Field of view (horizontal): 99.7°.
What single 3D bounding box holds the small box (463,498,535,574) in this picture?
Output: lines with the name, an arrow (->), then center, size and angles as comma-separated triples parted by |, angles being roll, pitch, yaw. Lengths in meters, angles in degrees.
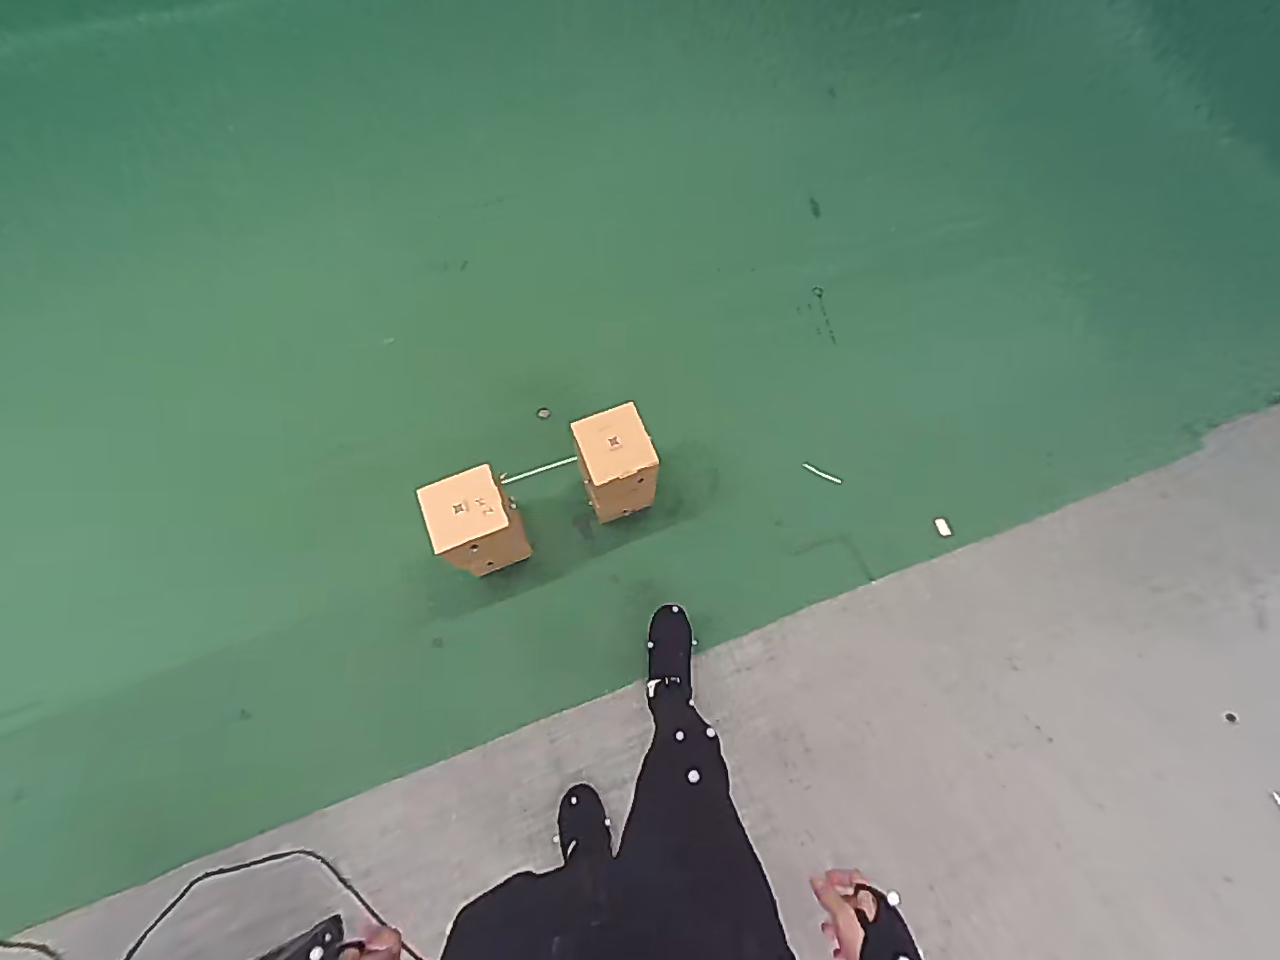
small box -> -0.397, 0.141, 1.458 | 0.168, 0.176, 0.179 | -21, 71, -8

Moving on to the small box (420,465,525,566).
small box -> -0.396, 0.091, 1.301 | 0.179, 0.176, 0.168 | -21, 72, -8

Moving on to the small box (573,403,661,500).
small box -> -0.057, -0.062, 1.360 | 0.168, 0.176, 0.179 | -21, 72, -9
